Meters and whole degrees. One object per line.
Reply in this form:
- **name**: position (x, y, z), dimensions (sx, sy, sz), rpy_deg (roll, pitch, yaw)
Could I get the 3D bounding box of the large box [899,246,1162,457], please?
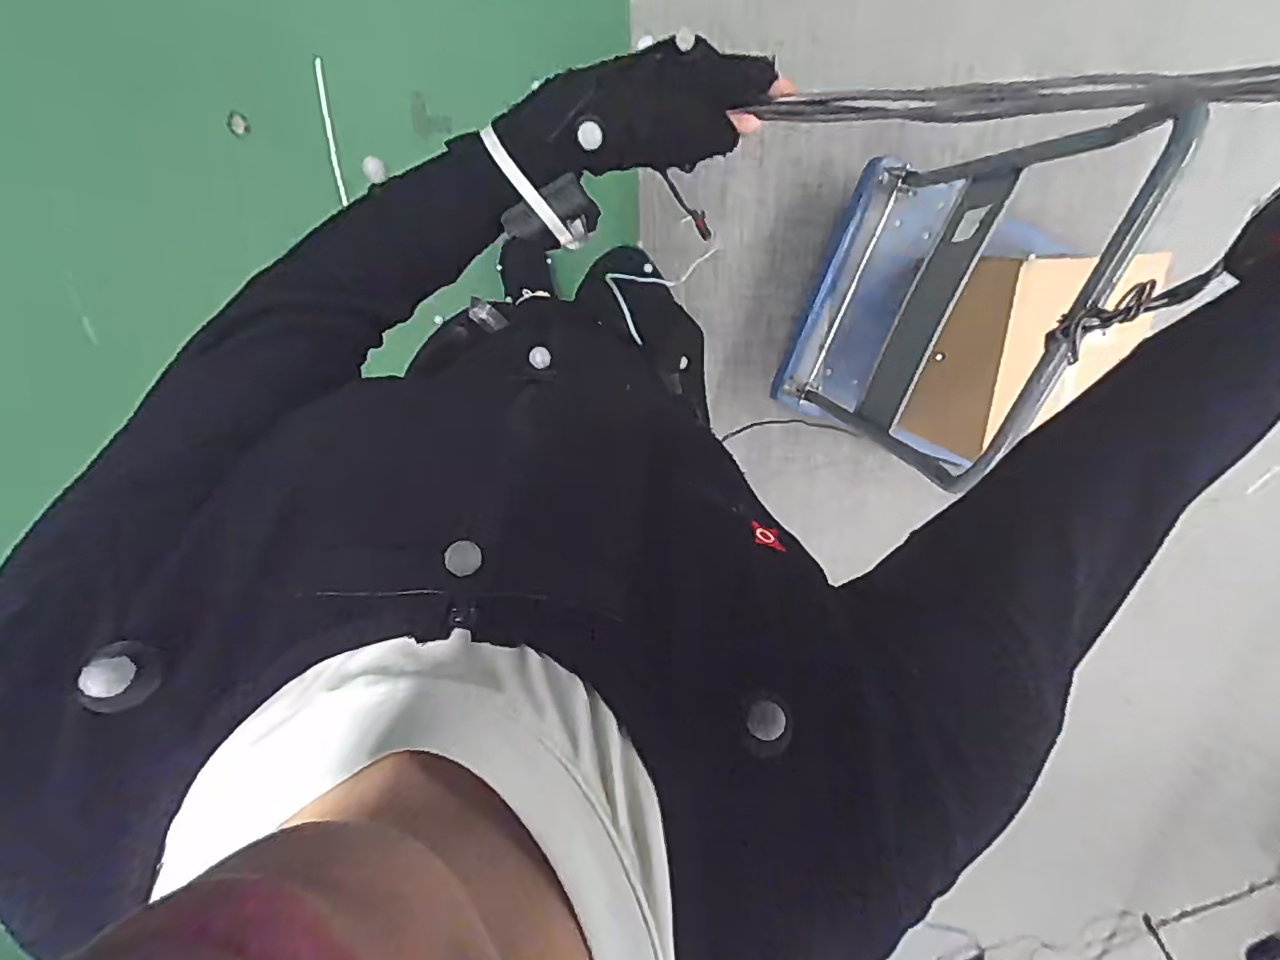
- **large box**: position (0.830, -0.298, 1.217), dimensions (0.320, 0.320, 0.408), rpy_deg (-5, 113, -7)
